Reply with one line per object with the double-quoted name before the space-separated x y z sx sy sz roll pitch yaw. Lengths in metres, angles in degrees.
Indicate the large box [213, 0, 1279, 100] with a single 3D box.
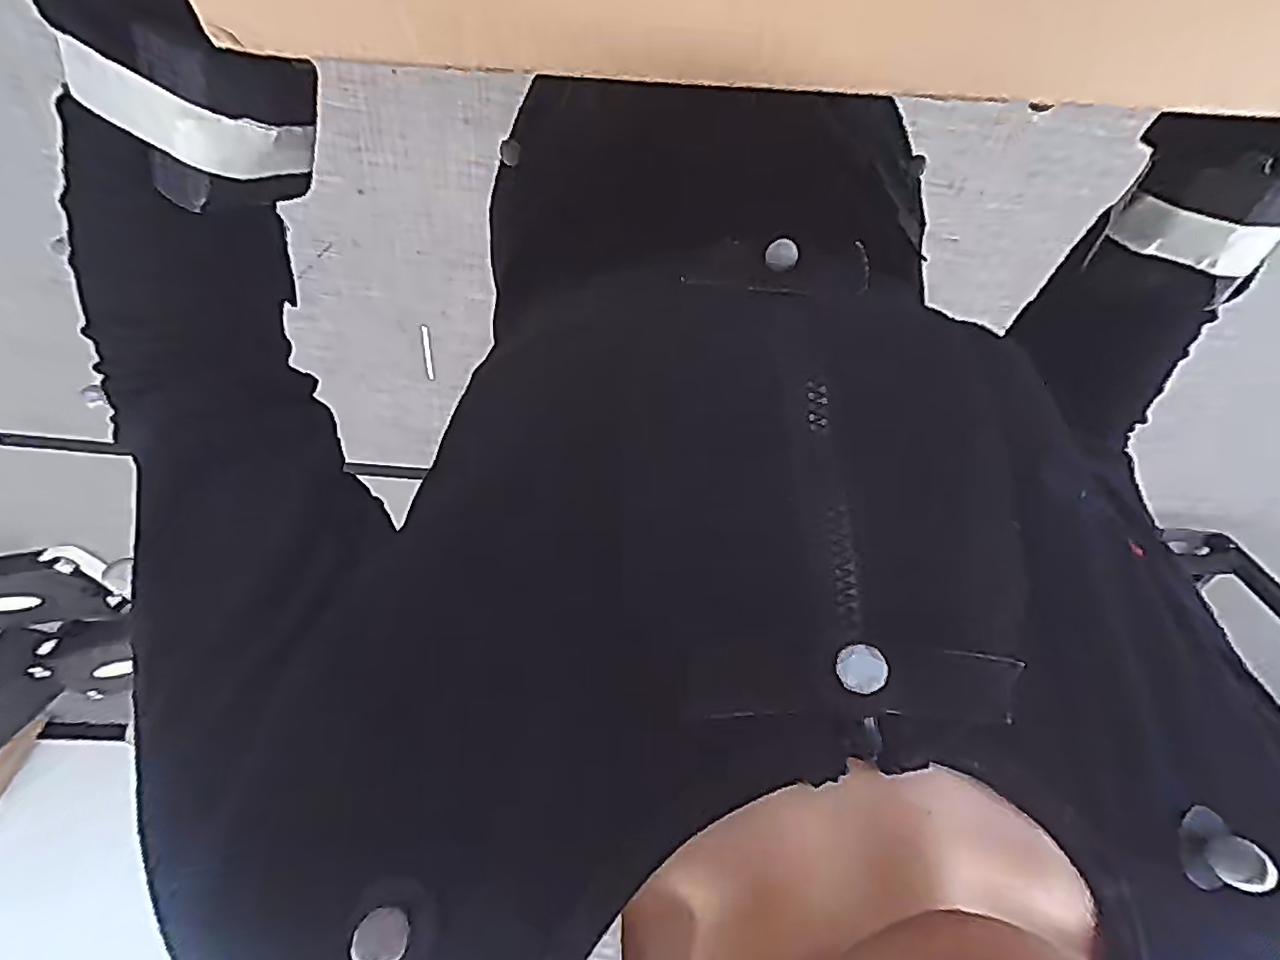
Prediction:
"large box" 0.057 -0.362 0.177 0.408 0.320 0.320 -1 140 -5
